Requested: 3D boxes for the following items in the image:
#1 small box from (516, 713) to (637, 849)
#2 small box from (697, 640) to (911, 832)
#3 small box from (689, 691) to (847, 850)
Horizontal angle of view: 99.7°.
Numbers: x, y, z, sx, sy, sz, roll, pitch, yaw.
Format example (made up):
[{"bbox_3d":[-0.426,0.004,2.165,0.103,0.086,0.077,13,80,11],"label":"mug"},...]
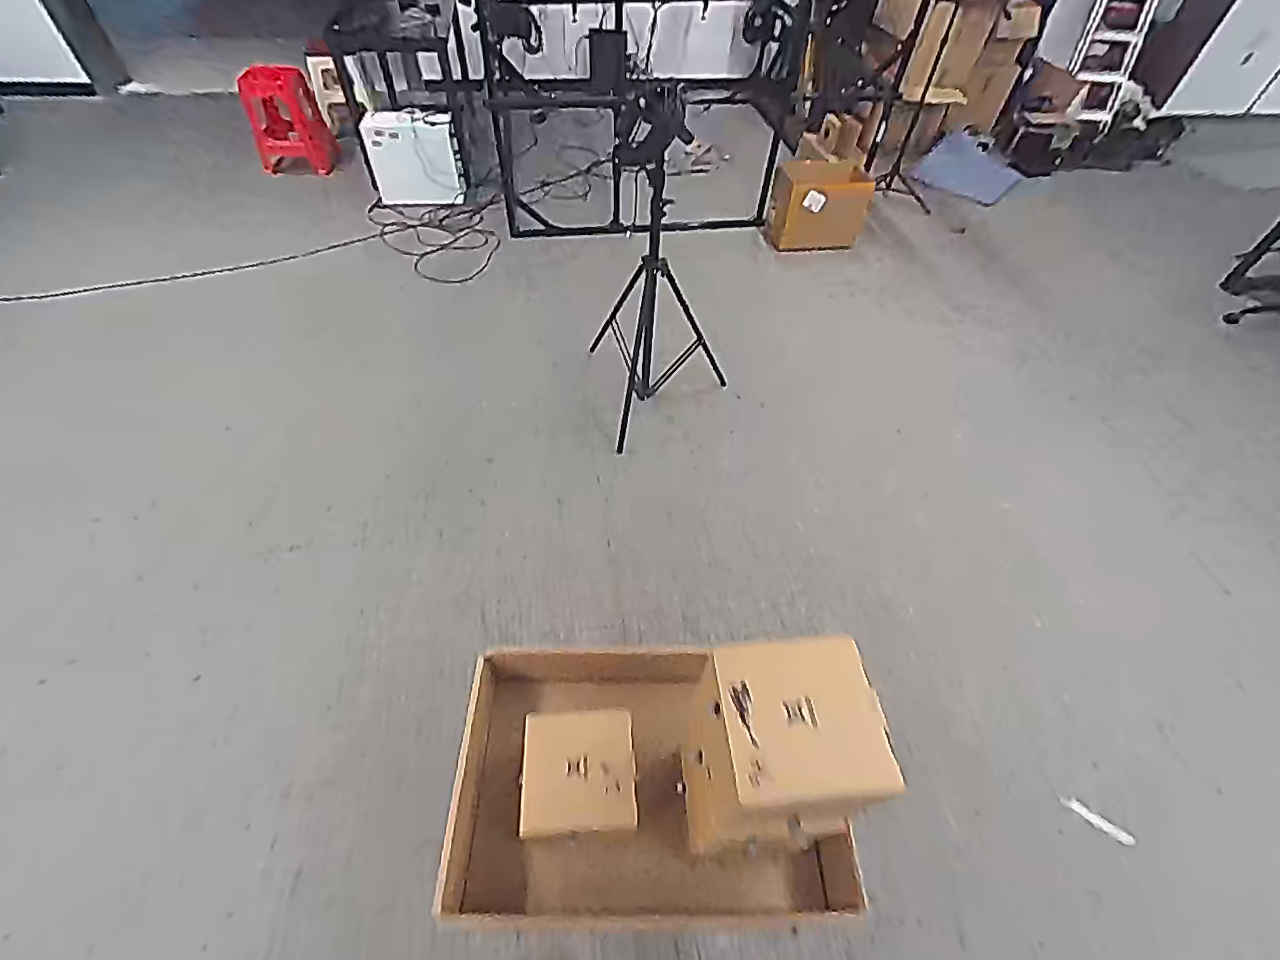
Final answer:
[{"bbox_3d":[-0.097,0.495,0.886,0.179,0.176,0.168,-1,51,-5],"label":"small box"},{"bbox_3d":[0.173,0.302,0.637,0.179,0.176,0.168,-2,50,-5],"label":"small box"},{"bbox_3d":[0.165,0.409,0.761,0.168,0.176,0.179,-1,50,-4],"label":"small box"}]
